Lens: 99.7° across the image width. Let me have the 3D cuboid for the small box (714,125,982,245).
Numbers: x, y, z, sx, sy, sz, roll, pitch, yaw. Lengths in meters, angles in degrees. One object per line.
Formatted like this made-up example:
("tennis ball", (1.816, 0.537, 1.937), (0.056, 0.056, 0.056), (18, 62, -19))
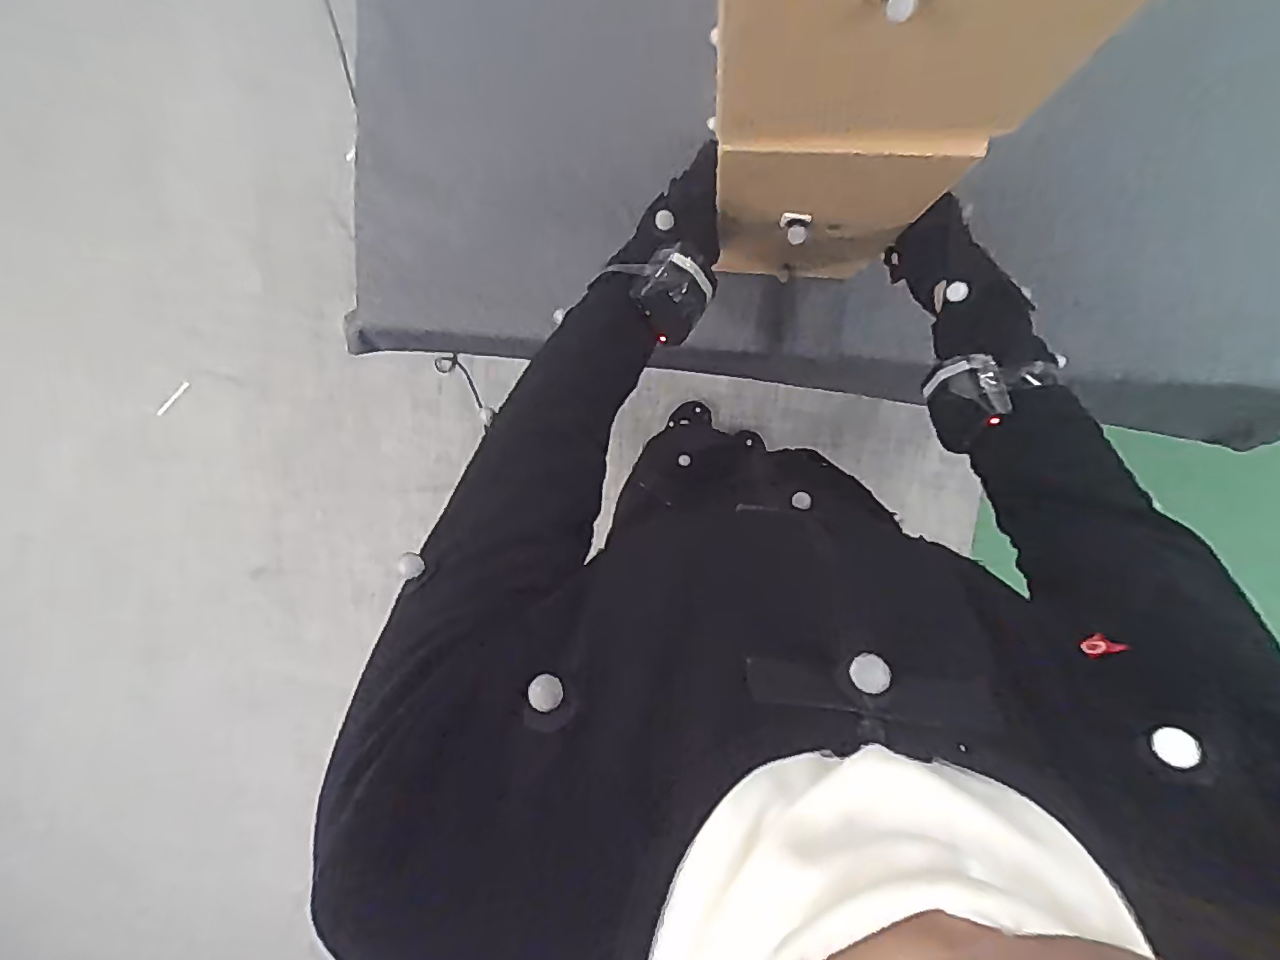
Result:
("small box", (0.147, -0.299, 0.411), (0.168, 0.176, 0.179), (6, 99, 8))

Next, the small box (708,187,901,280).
("small box", (0.169, -0.318, 0.571), (0.179, 0.176, 0.168), (6, 97, 6))

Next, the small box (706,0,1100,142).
("small box", (0.122, -0.282, 0.249), (0.179, 0.176, 0.168), (4, 97, 7))
